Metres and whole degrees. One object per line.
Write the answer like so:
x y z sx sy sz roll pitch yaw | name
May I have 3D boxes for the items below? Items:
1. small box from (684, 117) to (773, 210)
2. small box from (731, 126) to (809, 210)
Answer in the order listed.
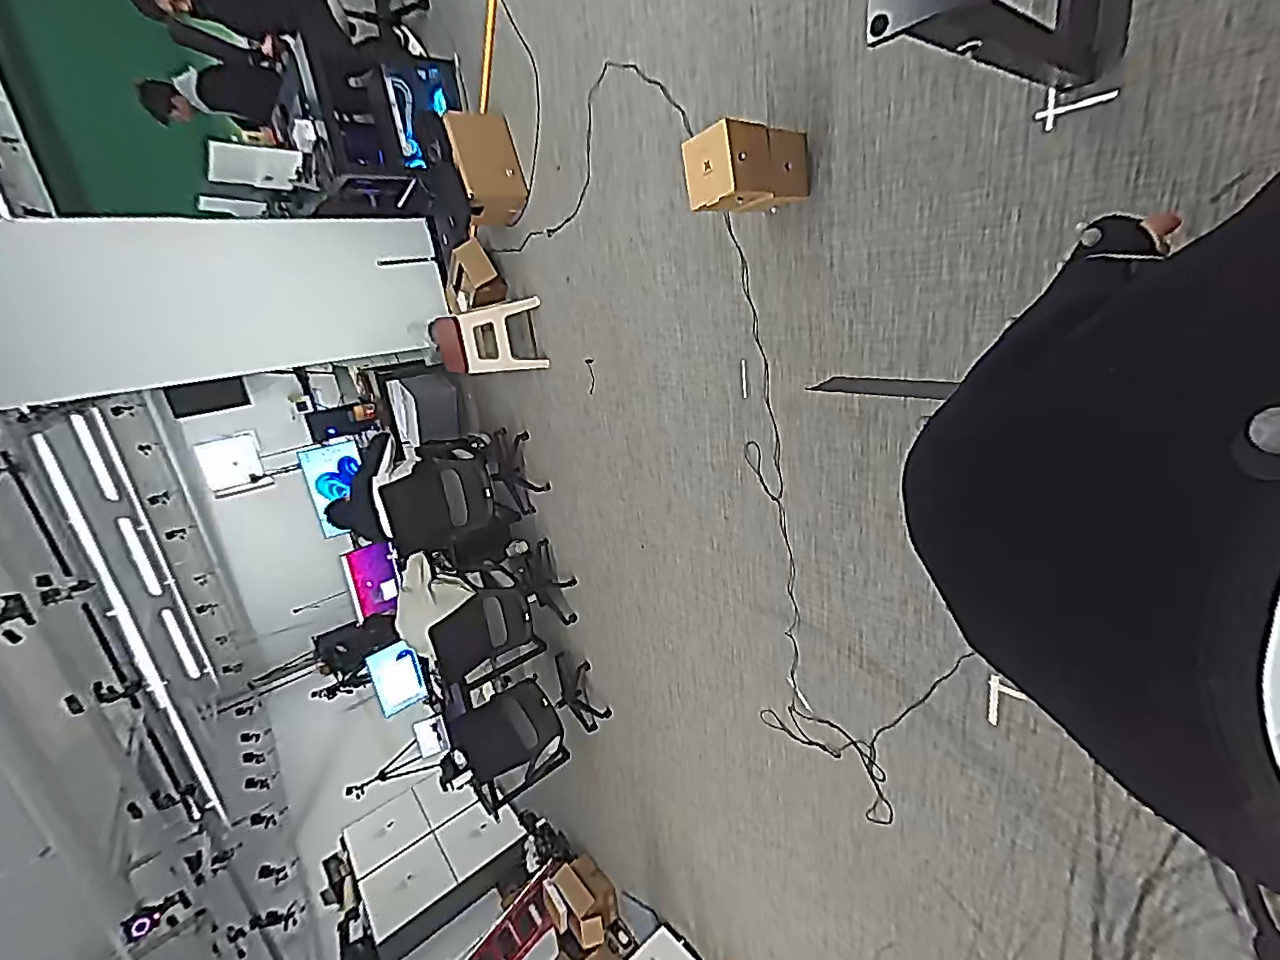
0.246 -0.859 1.482 0.168 0.176 0.179 6 110 51 | small box
0.374 -0.900 1.575 0.168 0.176 0.179 11 116 51 | small box
